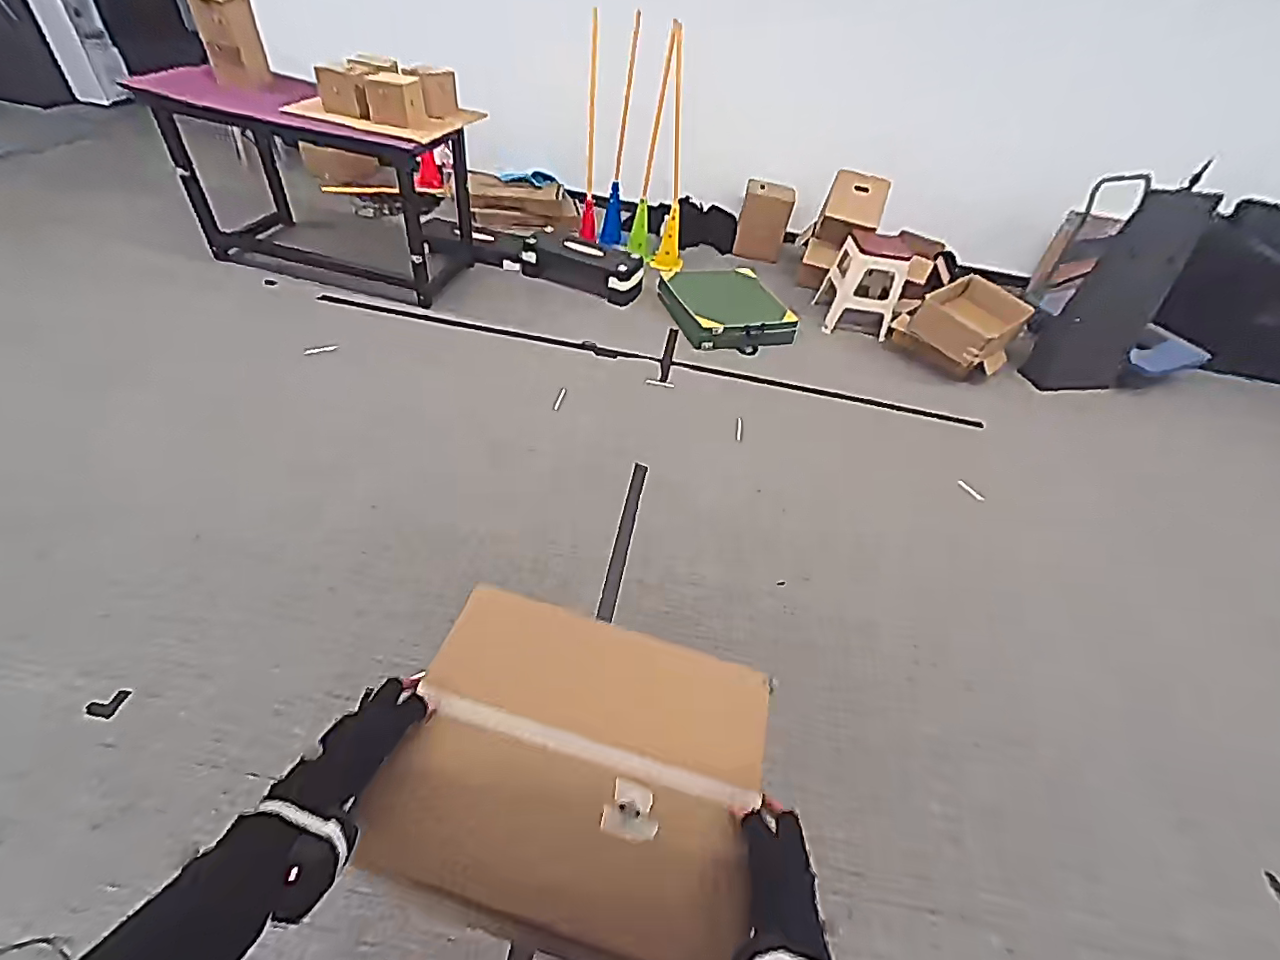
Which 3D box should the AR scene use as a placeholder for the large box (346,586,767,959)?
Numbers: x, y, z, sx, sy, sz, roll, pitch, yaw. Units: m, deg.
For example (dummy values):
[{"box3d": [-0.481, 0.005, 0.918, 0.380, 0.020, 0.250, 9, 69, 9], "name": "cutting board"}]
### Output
[{"box3d": [-0.085, 0.399, 0.716, 0.408, 0.320, 0.320, 17, 46, 4], "name": "large box"}]
